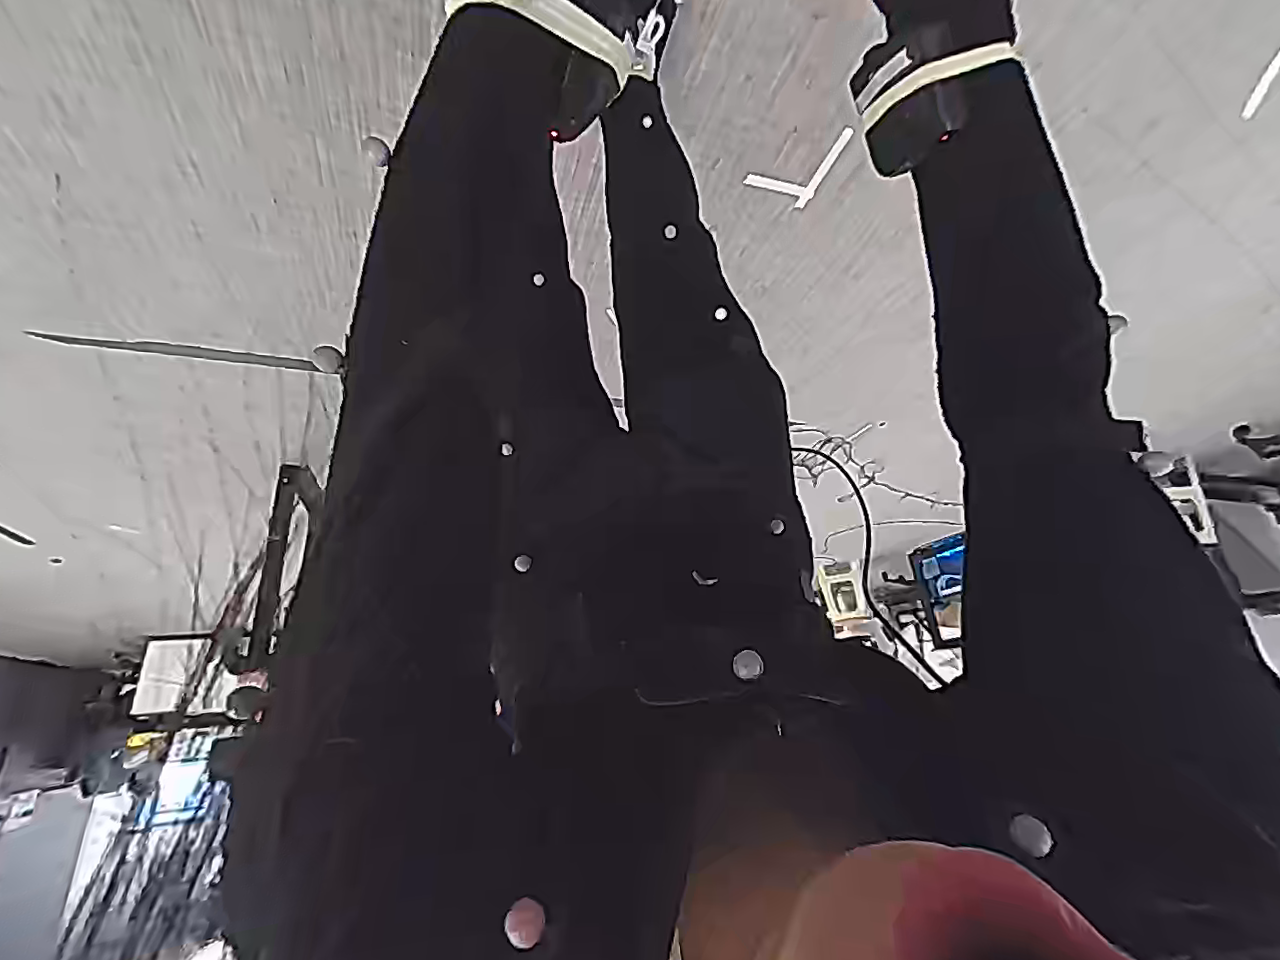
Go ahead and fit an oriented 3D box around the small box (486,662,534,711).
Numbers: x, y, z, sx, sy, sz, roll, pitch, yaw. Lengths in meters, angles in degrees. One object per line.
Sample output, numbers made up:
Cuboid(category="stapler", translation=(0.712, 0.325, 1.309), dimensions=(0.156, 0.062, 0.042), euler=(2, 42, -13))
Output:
Cuboid(category="small box", translation=(-0.524, 0.822, 2.162), dimensions=(0.168, 0.176, 0.179), euler=(4, 156, -22))
